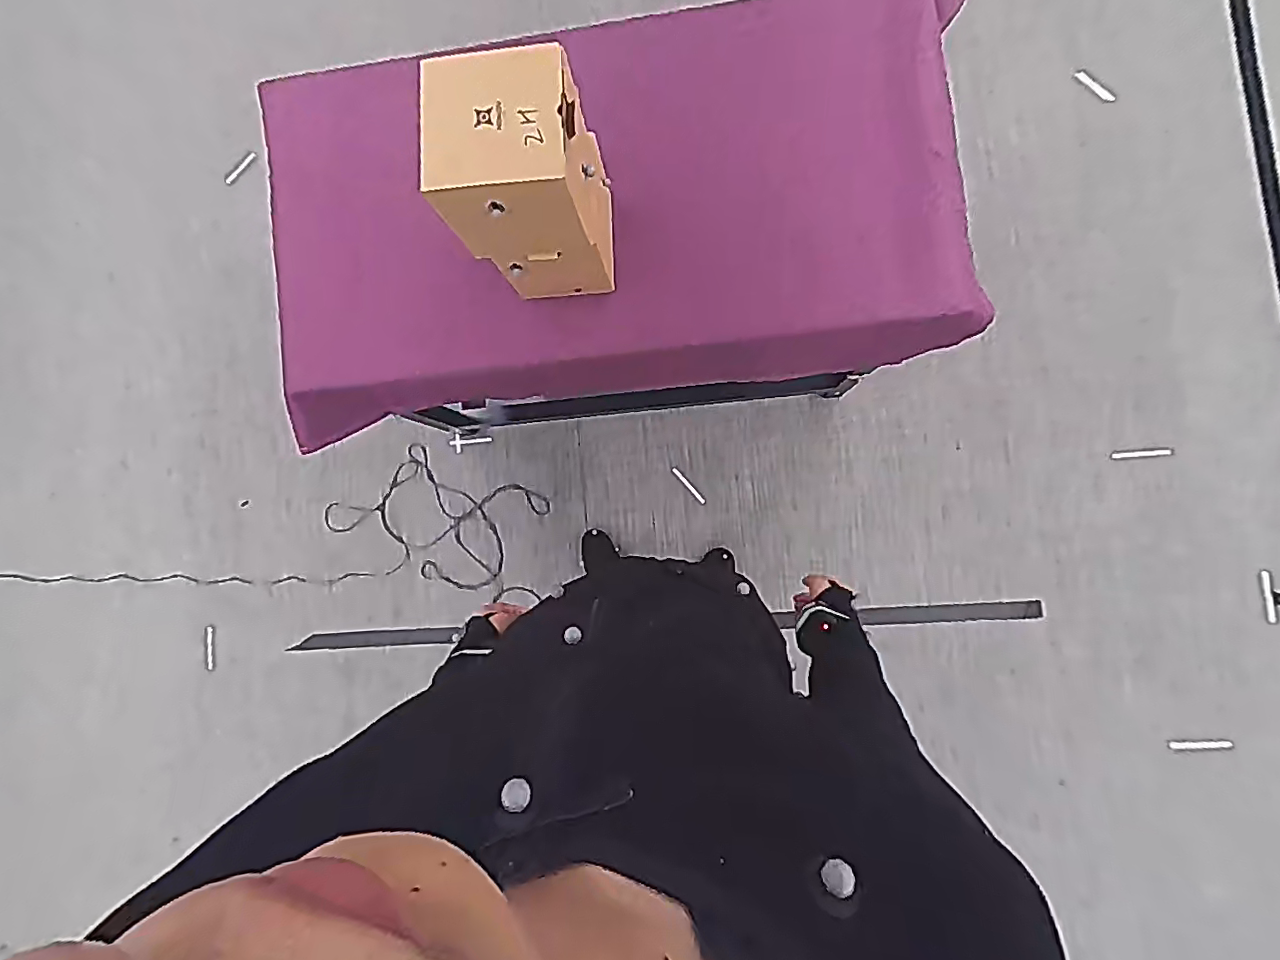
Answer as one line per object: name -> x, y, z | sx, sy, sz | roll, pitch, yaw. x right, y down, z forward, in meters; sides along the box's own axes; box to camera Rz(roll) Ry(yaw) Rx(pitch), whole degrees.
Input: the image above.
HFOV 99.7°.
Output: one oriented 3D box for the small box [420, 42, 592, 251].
small box -> -0.165, -0.418, 0.708 | 0.179, 0.176, 0.168 | -2, 87, 5
